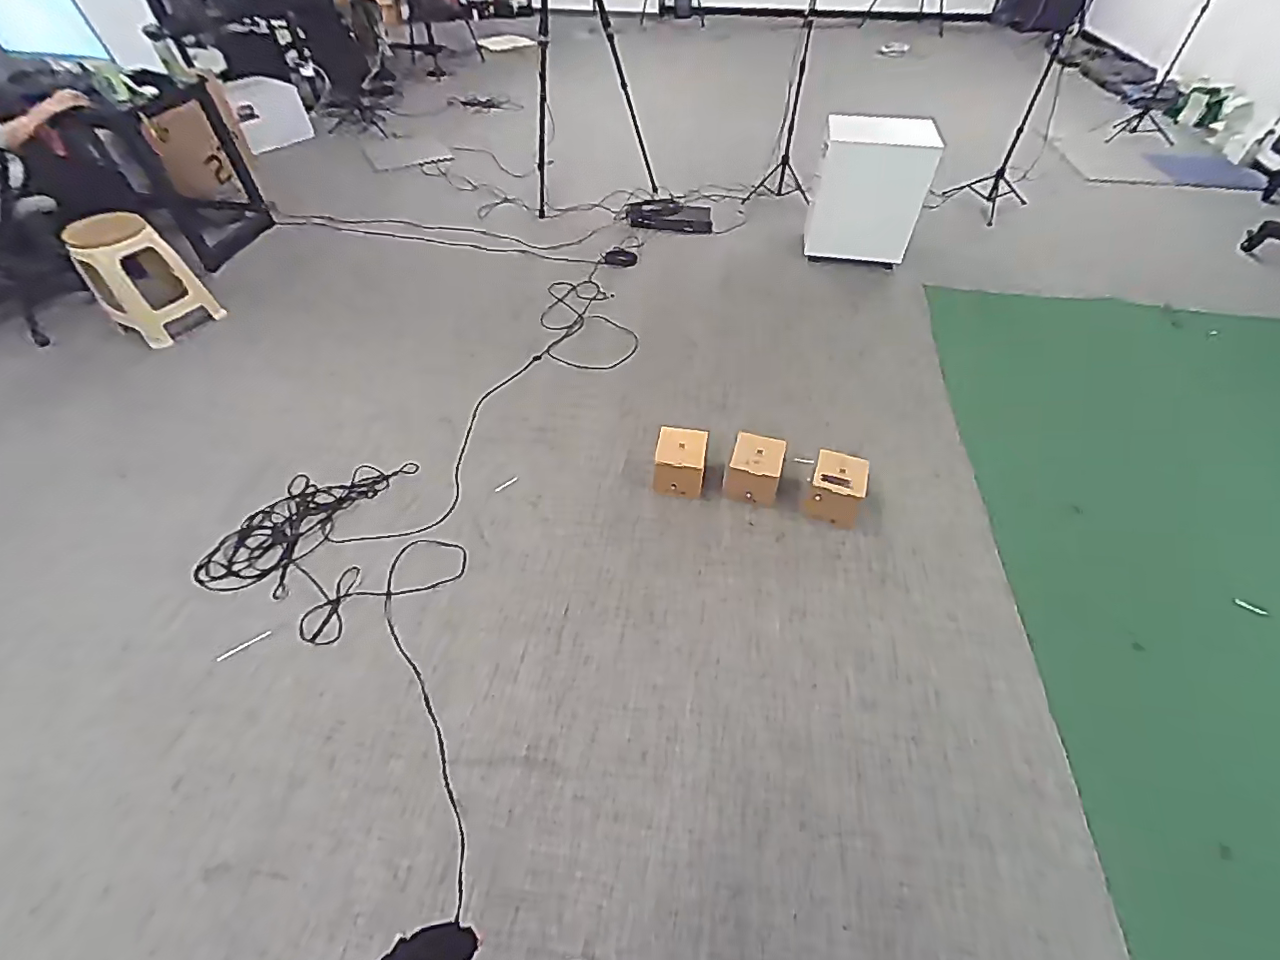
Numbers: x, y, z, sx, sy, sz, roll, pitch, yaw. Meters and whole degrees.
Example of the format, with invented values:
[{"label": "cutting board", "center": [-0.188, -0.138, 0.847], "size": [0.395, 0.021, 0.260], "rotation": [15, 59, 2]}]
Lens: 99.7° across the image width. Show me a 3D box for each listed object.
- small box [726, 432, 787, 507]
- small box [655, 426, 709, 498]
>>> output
[{"label": "small box", "center": [0.398, -0.036, 1.871], "size": [0.168, 0.176, 0.179], "rotation": [13, 51, 12]}, {"label": "small box", "center": [0.144, -0.062, 1.896], "size": [0.168, 0.176, 0.179], "rotation": [8, 50, 7]}]
